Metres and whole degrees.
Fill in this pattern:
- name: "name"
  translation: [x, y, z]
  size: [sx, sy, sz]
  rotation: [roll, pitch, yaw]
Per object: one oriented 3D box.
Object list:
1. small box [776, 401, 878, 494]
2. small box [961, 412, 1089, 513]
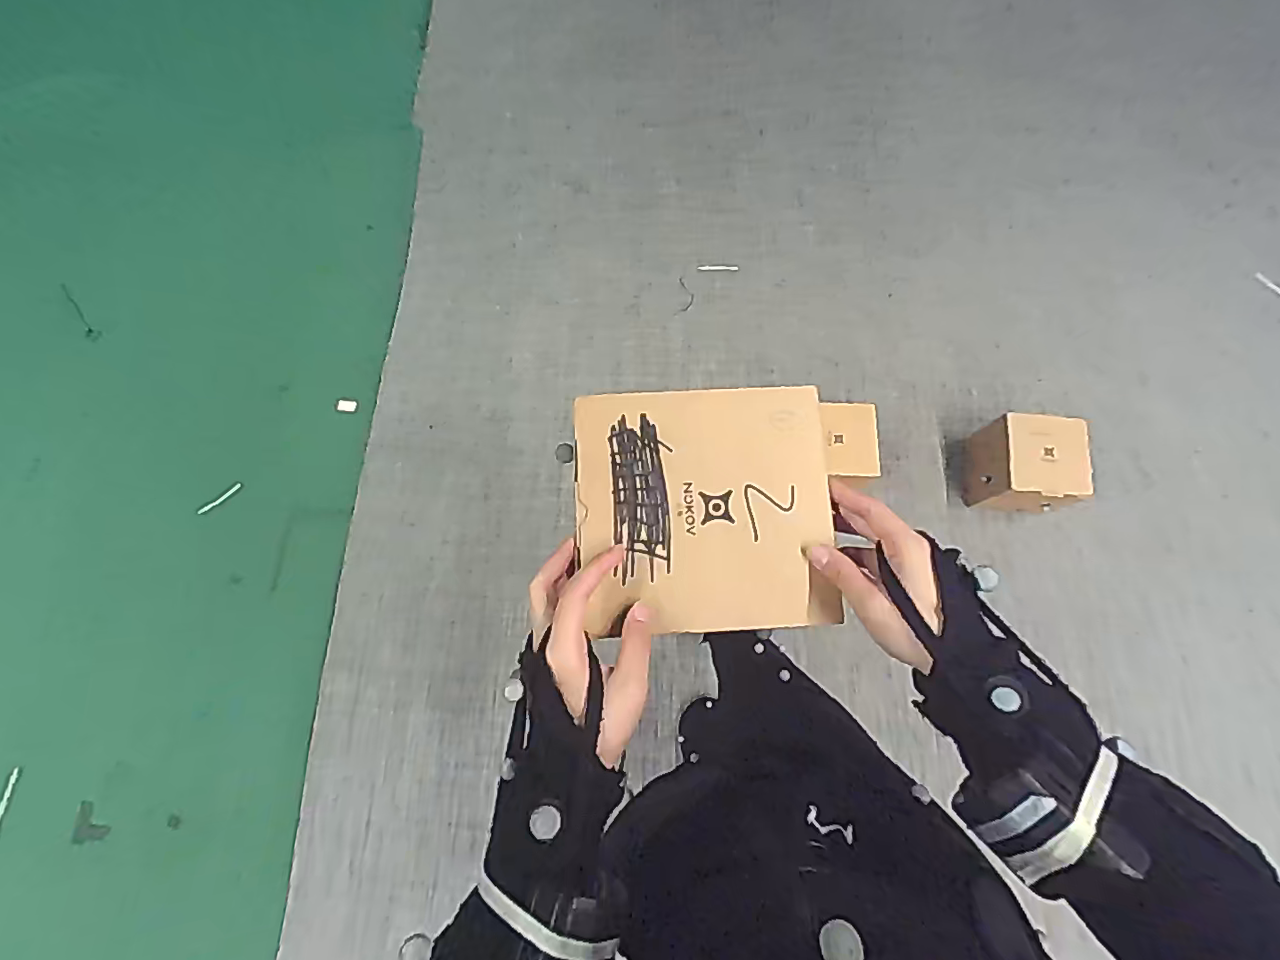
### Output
- name: "small box"
  translation: [0.415, -0.068, 1.225]
  size: [0.179, 0.176, 0.168]
  rotation: [2, 74, 3]
- name: "small box"
  translation: [0.844, -0.031, 1.203]
  size: [0.168, 0.176, 0.179]
  rotation: [6, 74, 2]
